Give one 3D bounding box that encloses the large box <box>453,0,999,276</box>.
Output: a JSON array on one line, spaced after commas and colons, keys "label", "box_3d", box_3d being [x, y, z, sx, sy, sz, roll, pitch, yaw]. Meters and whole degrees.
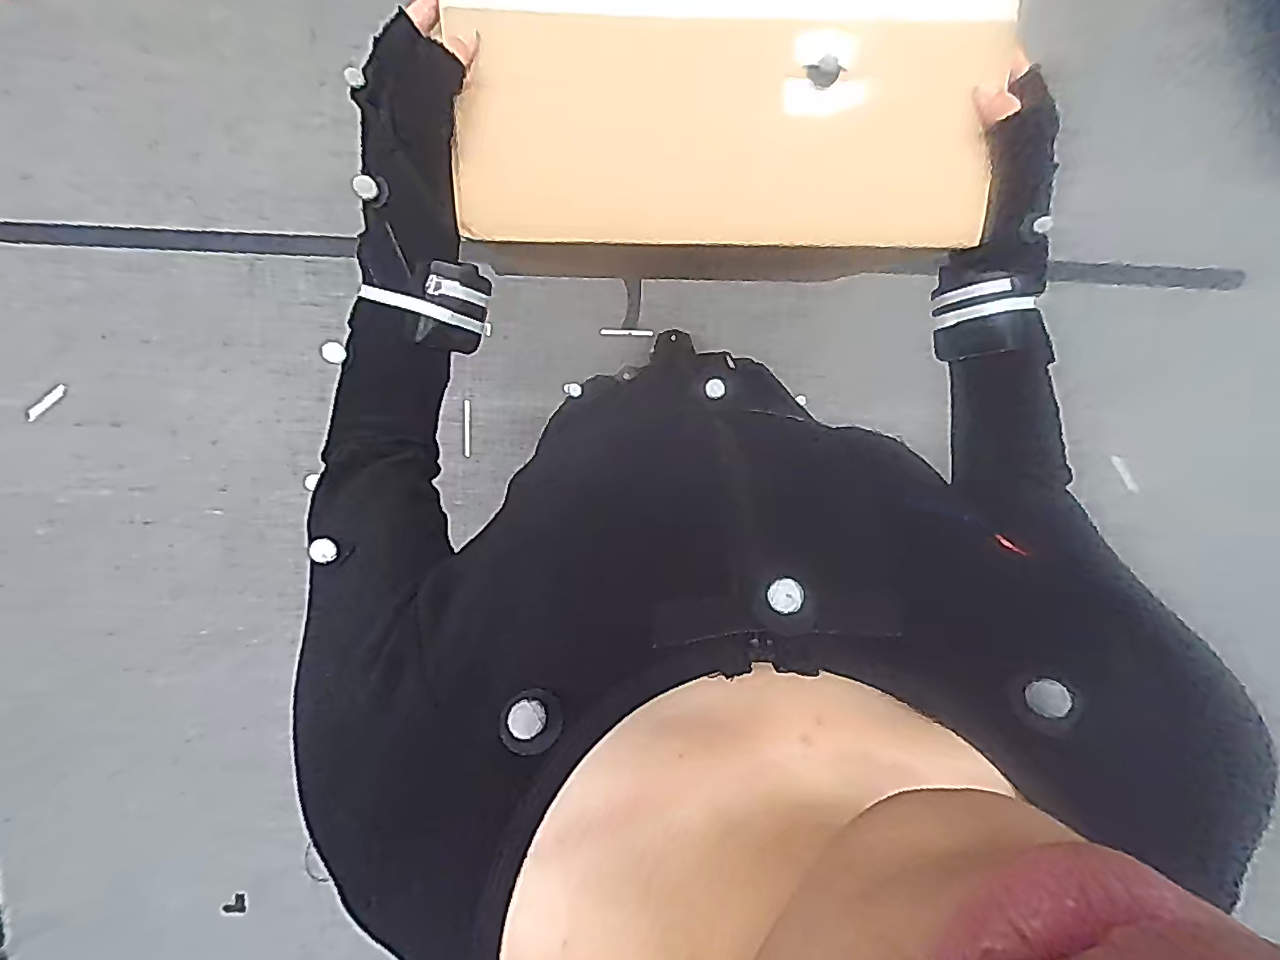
[{"label": "large box", "box_3d": [0.057, -0.383, 0.531, 0.408, 0.320, 0.320, 0, 105, -2]}]
